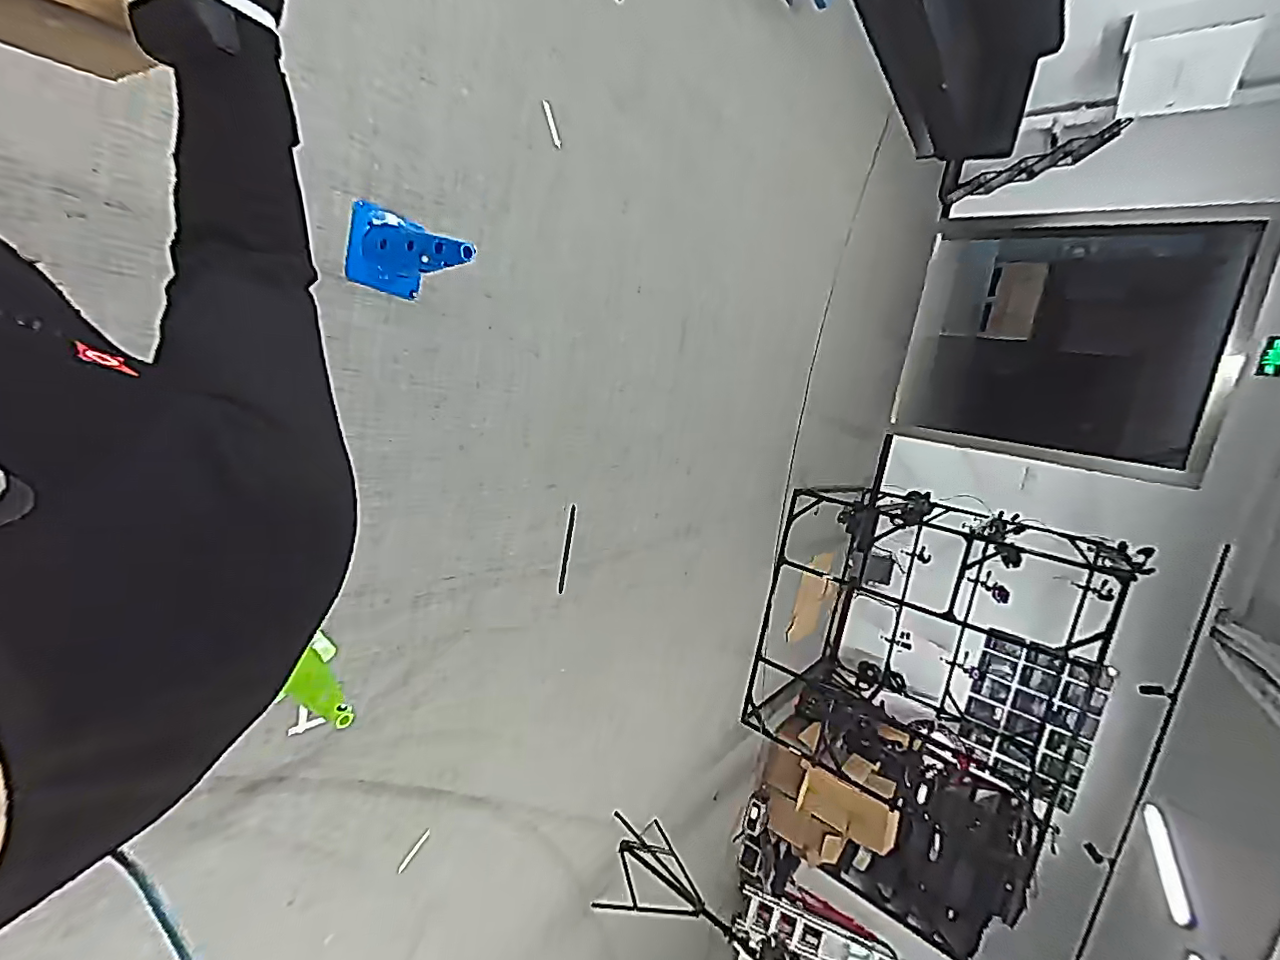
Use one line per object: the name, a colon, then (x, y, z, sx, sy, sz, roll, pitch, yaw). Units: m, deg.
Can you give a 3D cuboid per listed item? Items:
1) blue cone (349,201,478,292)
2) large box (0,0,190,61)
blue cone: (-0.540, -0.575, 1.342, 0.192, 0.380, 0.193, 5, 100, -55)
large box: (-0.528, -0.491, 0.273, 0.408, 0.320, 0.320, -9, 119, -51)
